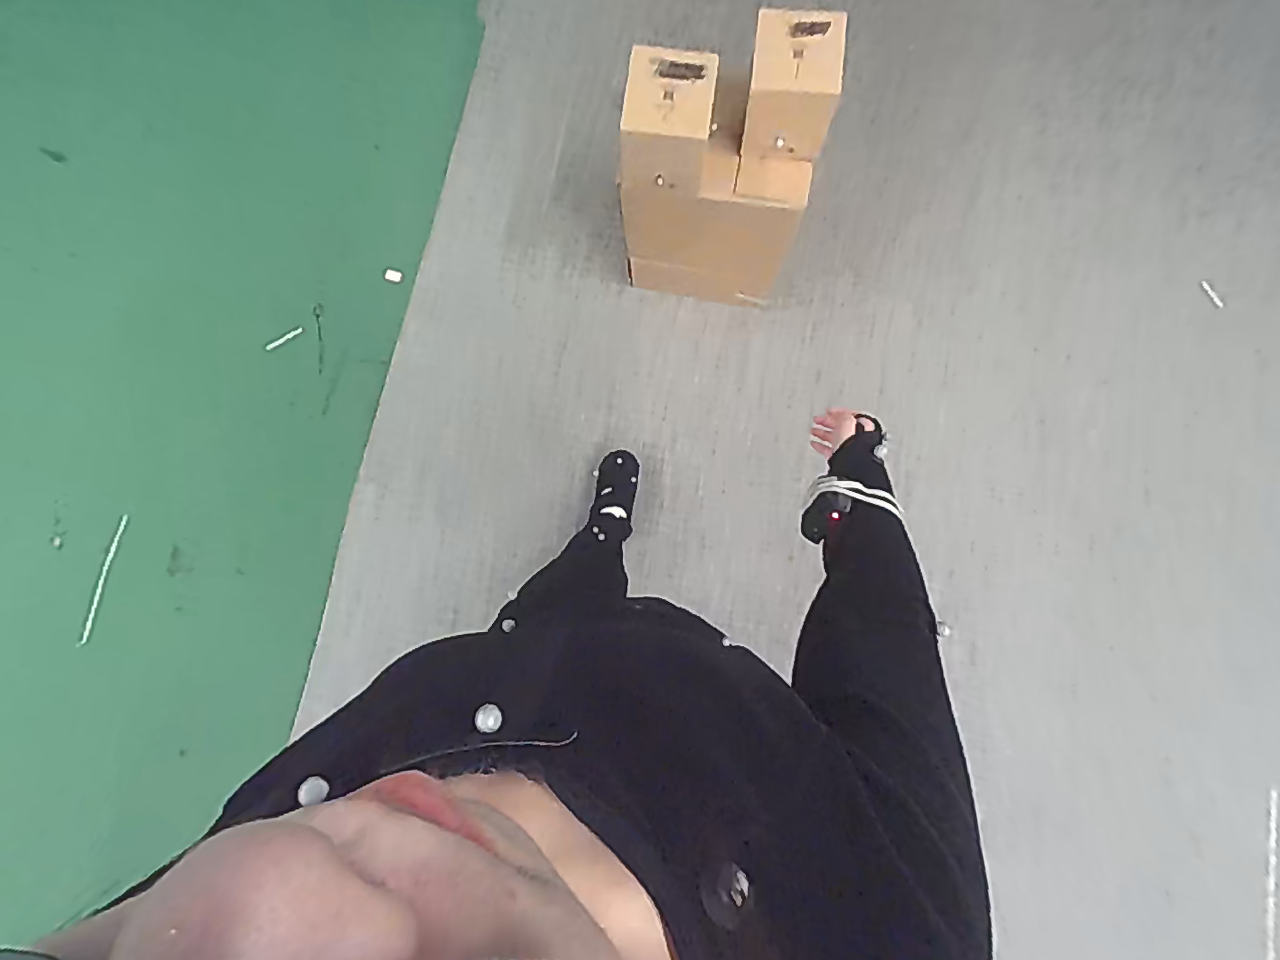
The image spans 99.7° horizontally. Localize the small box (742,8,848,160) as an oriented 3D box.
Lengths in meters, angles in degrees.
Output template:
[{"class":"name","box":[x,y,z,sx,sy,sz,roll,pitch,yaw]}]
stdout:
[{"class":"small box","box":[0.302,-0.785,1.084,0.168,0.176,0.179,7,83,5]}]
